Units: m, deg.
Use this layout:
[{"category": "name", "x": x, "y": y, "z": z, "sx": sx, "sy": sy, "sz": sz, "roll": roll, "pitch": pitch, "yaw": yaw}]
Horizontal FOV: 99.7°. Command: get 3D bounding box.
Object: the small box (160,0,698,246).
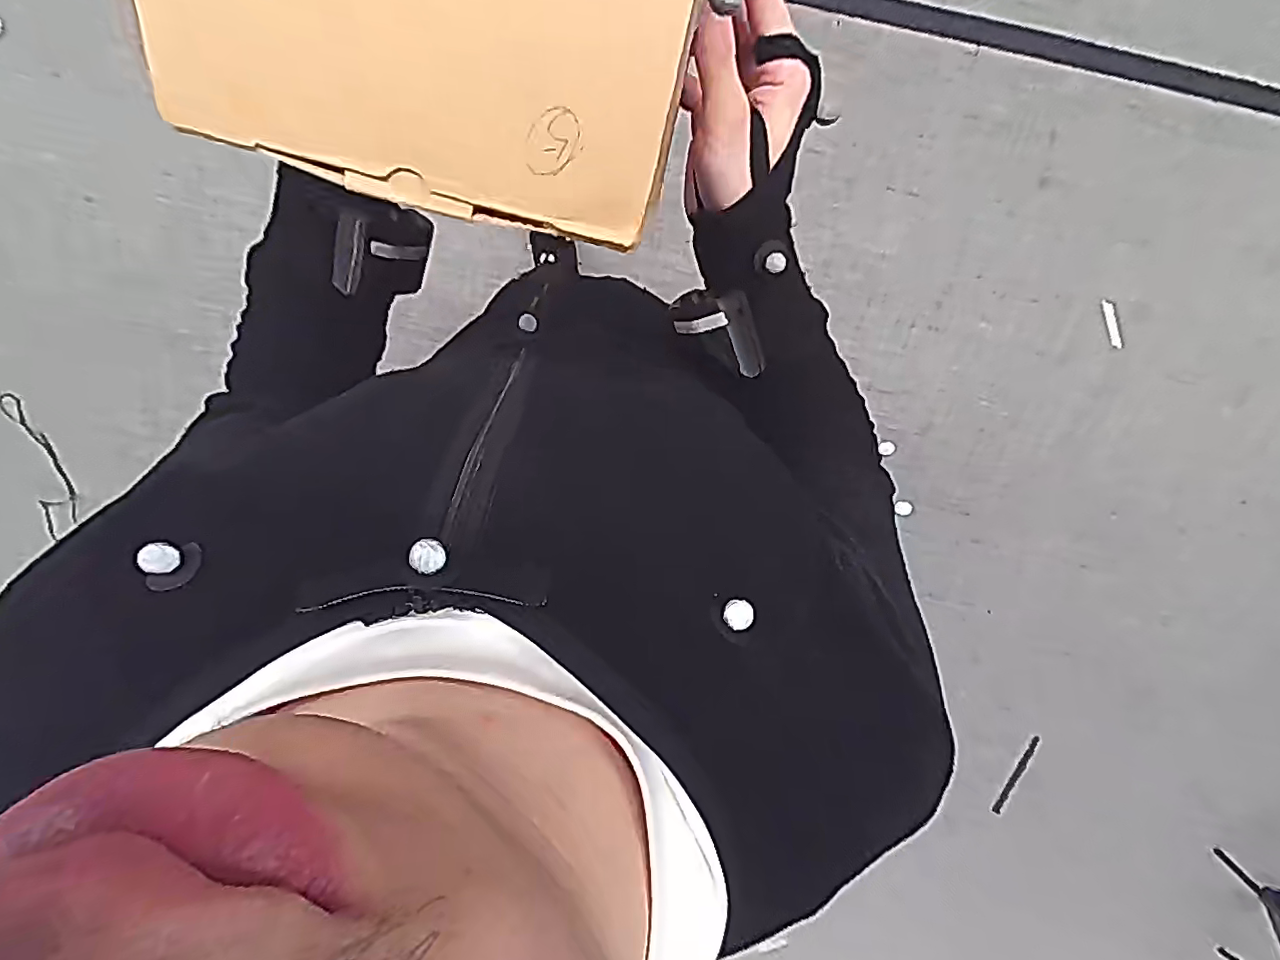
[{"category": "small box", "x": -0.058, "y": -0.220, "z": 0.223, "sx": 0.168, "sy": 0.176, "sz": 0.179, "roll": 13, "pitch": 121, "yaw": -5}]
